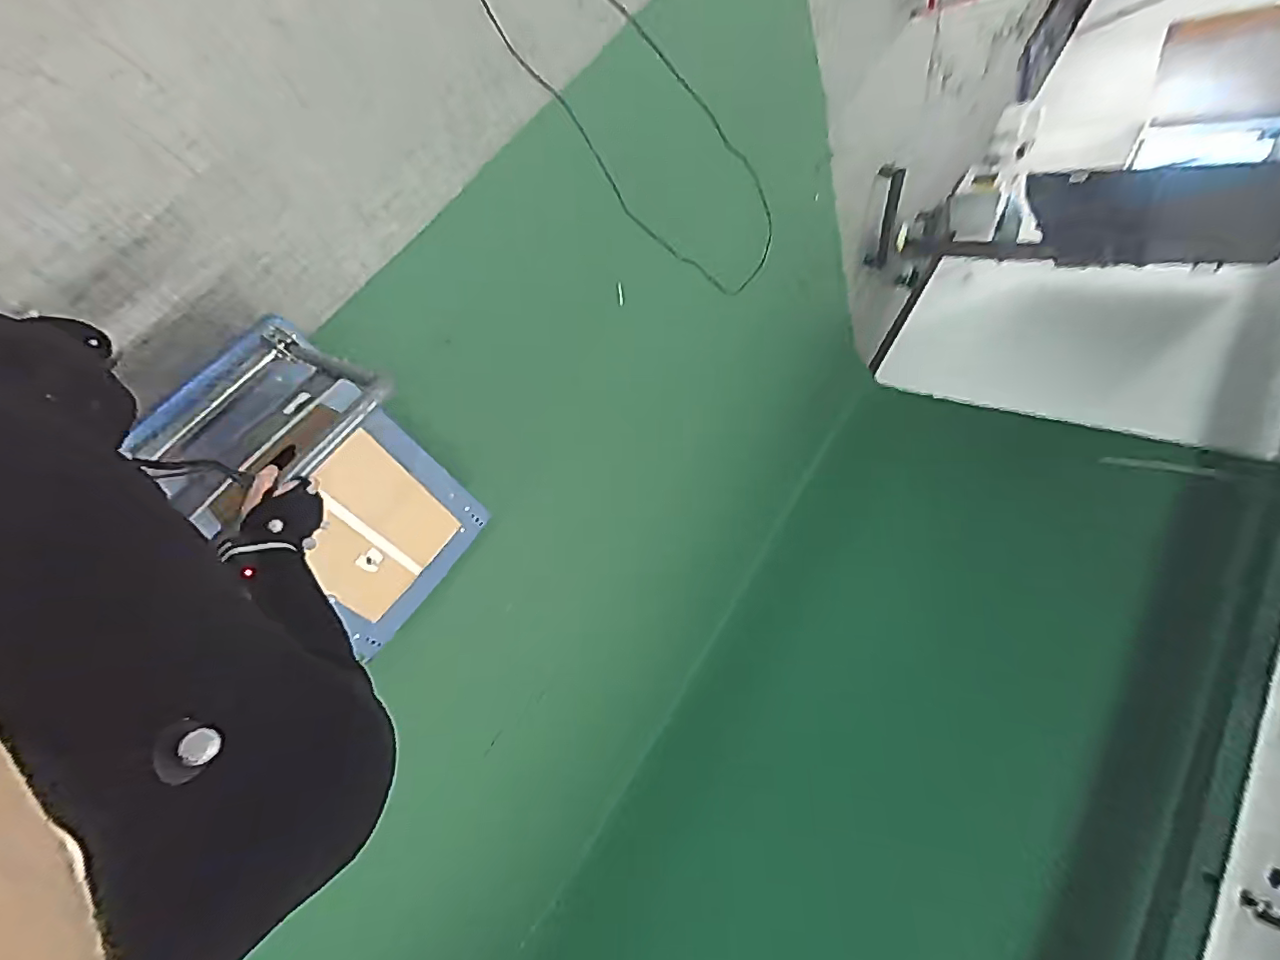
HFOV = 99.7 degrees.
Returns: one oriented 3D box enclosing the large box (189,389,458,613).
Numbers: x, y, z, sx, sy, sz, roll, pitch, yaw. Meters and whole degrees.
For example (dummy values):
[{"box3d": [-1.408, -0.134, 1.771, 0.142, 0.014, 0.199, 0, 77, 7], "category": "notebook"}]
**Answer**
[{"box3d": [-0.737, 0.048, 1.297, 0.320, 0.320, 0.408, -51, 141, -20], "category": "large box"}]
